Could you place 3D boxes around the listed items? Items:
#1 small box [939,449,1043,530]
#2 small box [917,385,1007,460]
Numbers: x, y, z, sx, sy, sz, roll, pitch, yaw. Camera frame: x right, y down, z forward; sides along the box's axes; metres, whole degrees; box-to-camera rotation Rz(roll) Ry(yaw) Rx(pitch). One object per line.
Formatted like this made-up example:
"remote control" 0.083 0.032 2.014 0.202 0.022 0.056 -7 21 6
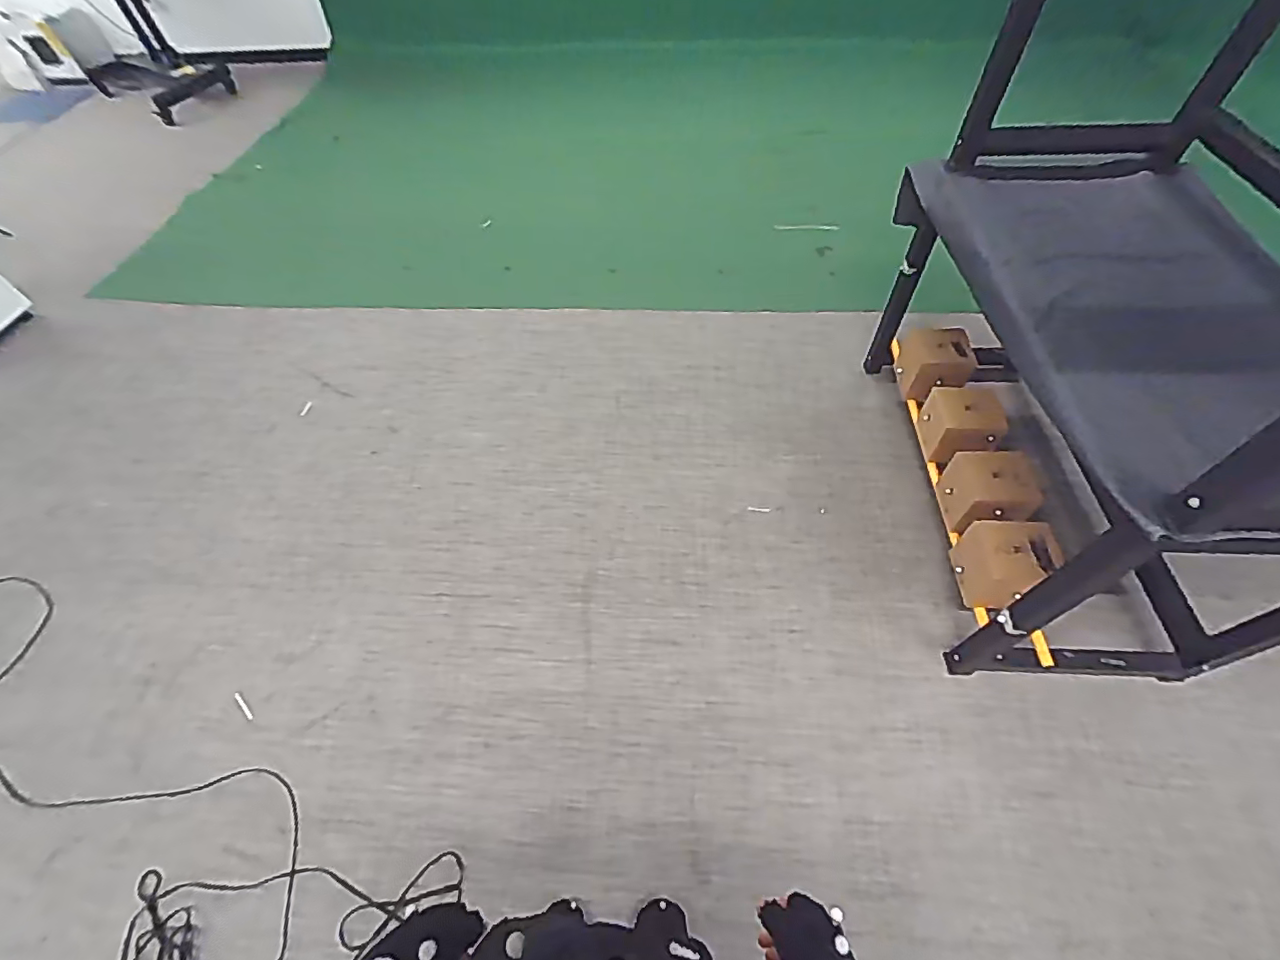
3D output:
"small box" 0.957 0.029 1.502 0.179 0.176 0.168 1 55 4
"small box" 0.966 -0.170 1.645 0.179 0.176 0.168 1 55 5
